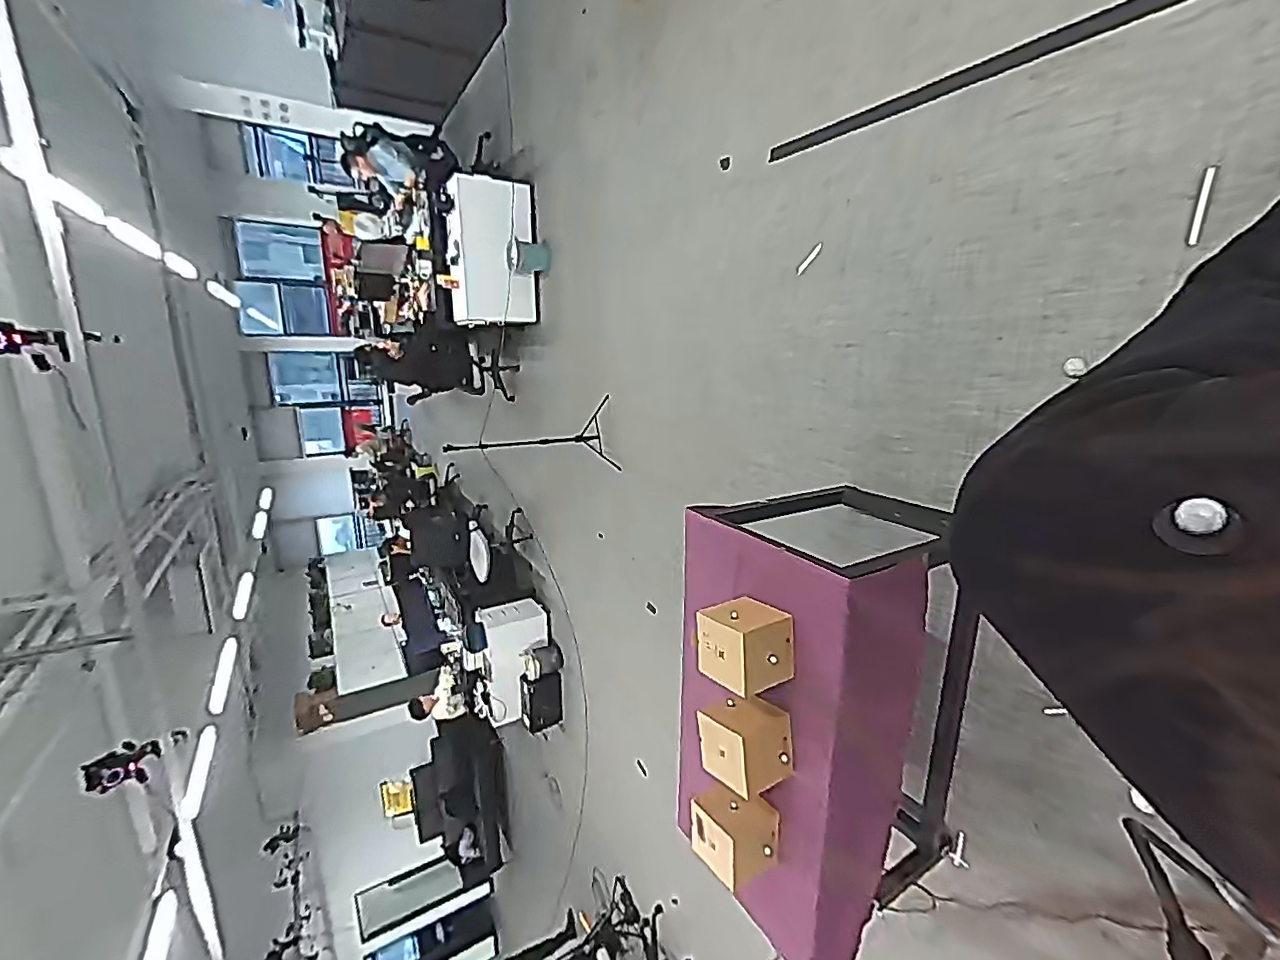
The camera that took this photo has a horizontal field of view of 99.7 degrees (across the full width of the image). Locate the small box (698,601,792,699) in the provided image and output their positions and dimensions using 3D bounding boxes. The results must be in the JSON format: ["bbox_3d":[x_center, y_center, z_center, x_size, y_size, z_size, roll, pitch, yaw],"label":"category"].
[{"bbox_3d":[0.269,0.420,1.373,0.179,0.176,0.168,11,107,59],"label":"small box"}]

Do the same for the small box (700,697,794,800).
[{"bbox_3d":[0.281,0.692,1.423,0.179,0.176,0.168,4,101,60],"label":"small box"}]

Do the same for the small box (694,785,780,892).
[{"bbox_3d":[0.269,0.984,1.514,0.179,0.176,0.168,15,110,57],"label":"small box"}]
